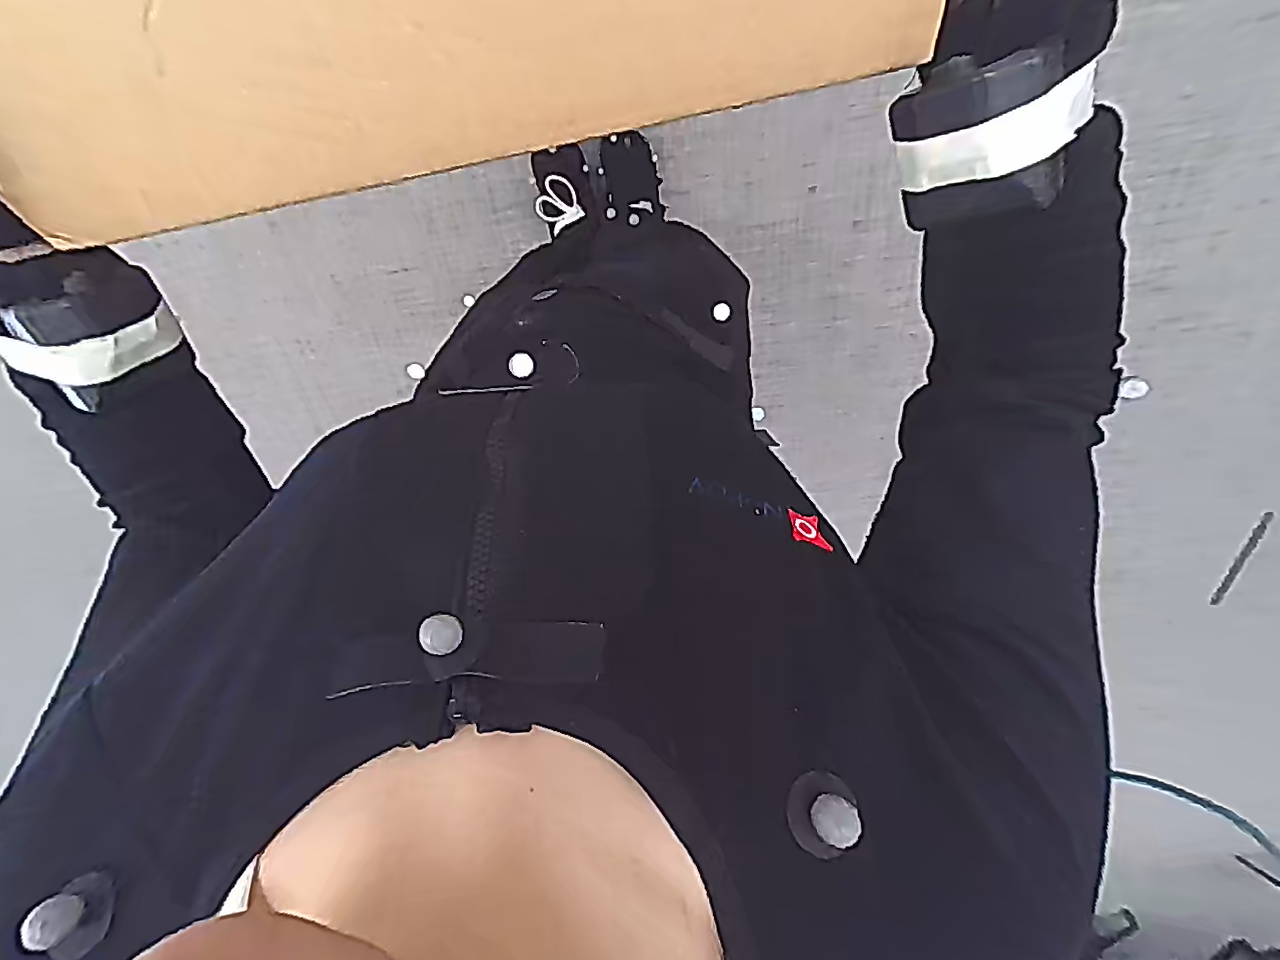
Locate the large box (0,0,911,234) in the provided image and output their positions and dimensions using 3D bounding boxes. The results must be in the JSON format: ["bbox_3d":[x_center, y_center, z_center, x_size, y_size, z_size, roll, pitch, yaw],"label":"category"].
[{"bbox_3d":[-0.117,-0.364,0.231,0.408,0.320,0.320,-10,138,4],"label":"large box"}]
